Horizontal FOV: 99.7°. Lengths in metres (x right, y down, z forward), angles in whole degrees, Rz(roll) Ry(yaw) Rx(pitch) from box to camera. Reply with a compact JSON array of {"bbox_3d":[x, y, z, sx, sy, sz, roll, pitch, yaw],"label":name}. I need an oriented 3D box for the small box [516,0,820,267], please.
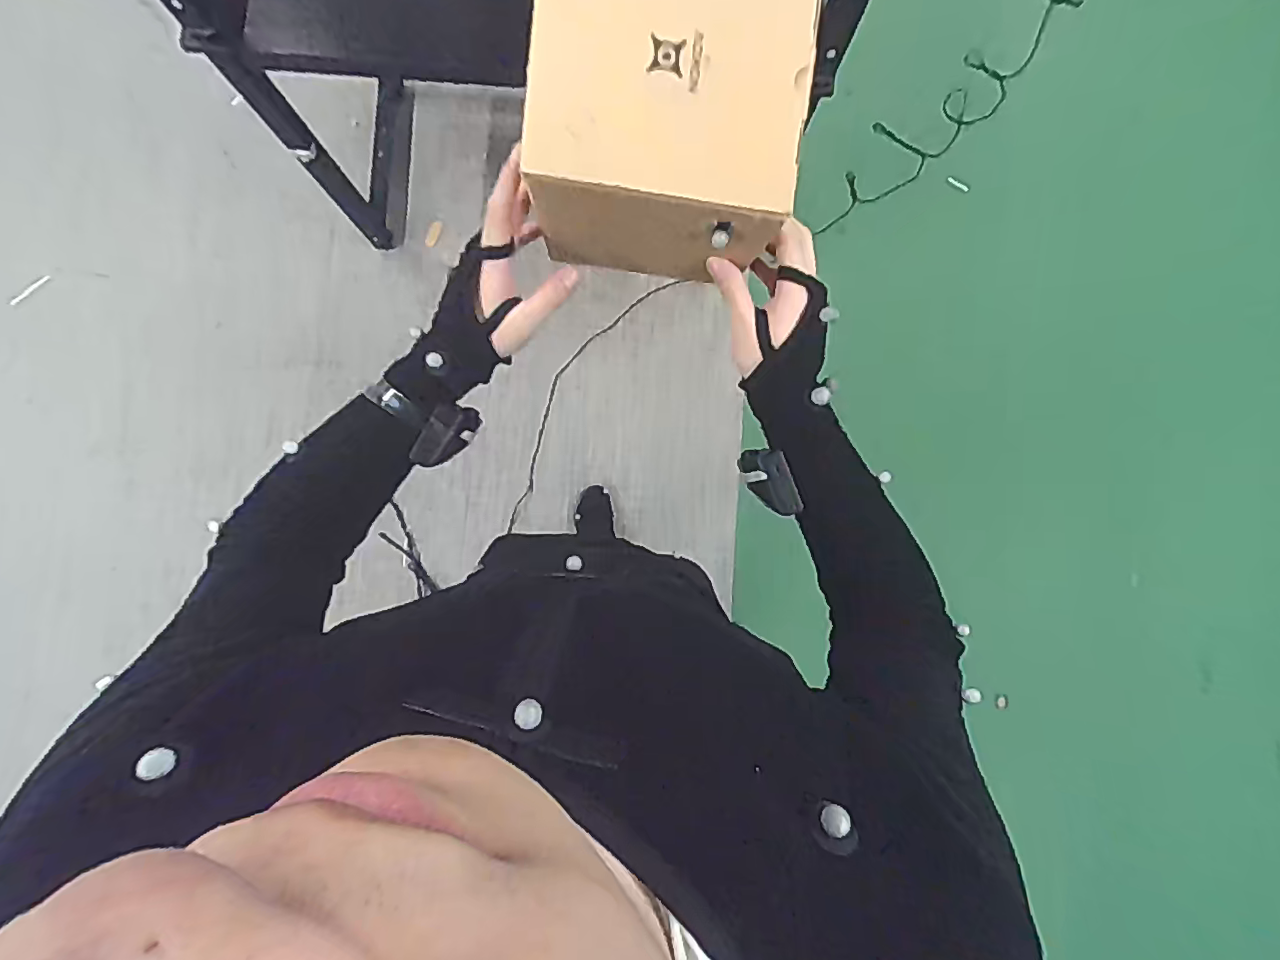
[{"bbox_3d":[0.014,-0.273,0.405,0.179,0.176,0.168,6,96,-5],"label":"small box"}]
